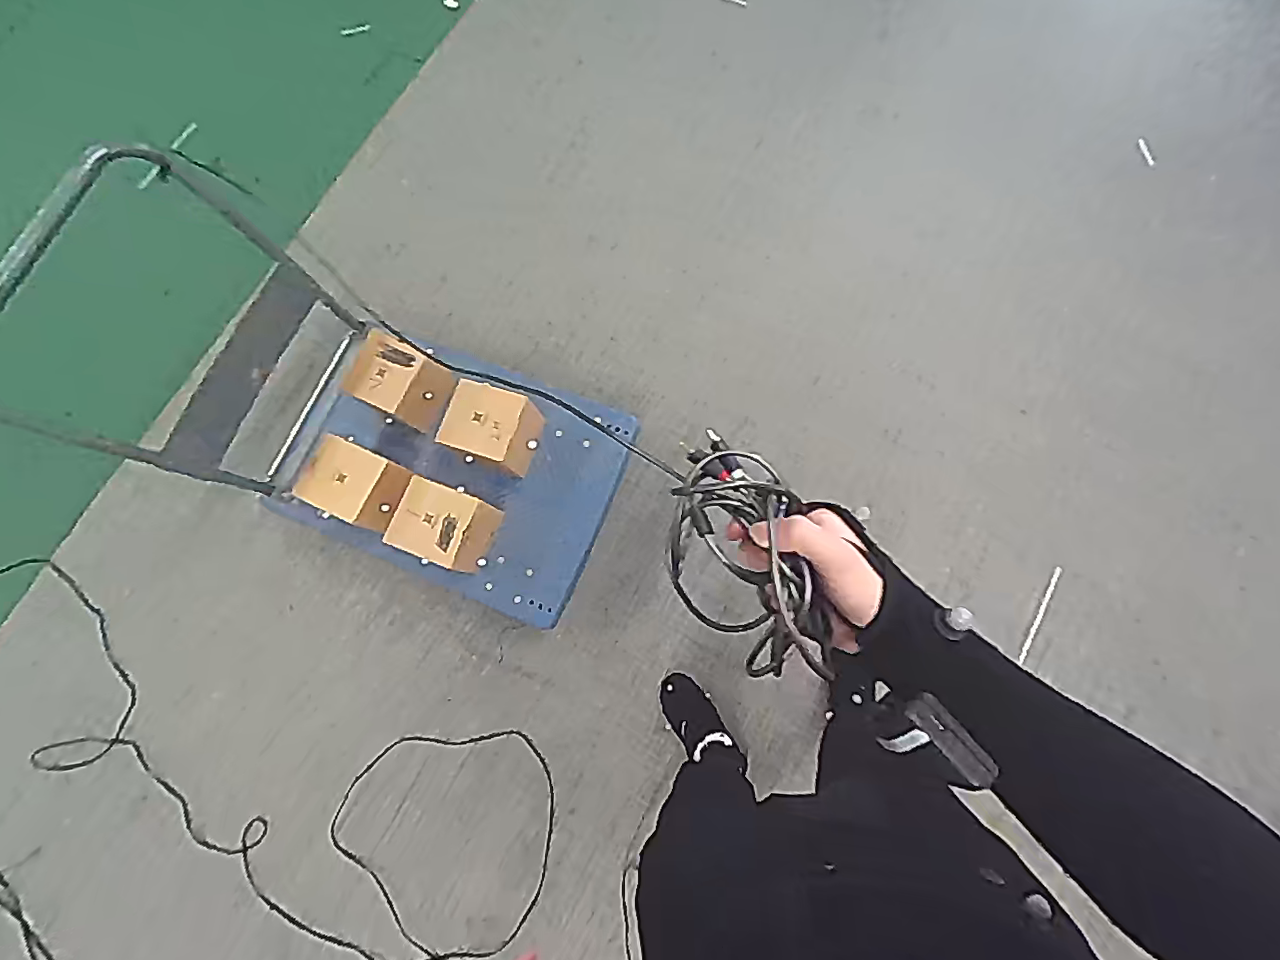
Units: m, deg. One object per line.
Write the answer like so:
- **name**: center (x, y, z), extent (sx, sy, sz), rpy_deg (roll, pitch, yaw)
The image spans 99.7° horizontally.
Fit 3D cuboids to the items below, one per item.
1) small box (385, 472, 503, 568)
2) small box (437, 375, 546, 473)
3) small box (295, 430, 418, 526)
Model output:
- **small box**: center (-0.450, 0.101, 1.273), extent (0.179, 0.176, 0.168), rpy_deg (20, 78, 10)
- **small box**: center (-0.353, -0.129, 1.320), extent (0.179, 0.176, 0.168), rpy_deg (18, 79, 9)
- **small box**: center (-0.676, 0.003, 1.317), extent (0.179, 0.176, 0.168), rpy_deg (23, 79, 10)
